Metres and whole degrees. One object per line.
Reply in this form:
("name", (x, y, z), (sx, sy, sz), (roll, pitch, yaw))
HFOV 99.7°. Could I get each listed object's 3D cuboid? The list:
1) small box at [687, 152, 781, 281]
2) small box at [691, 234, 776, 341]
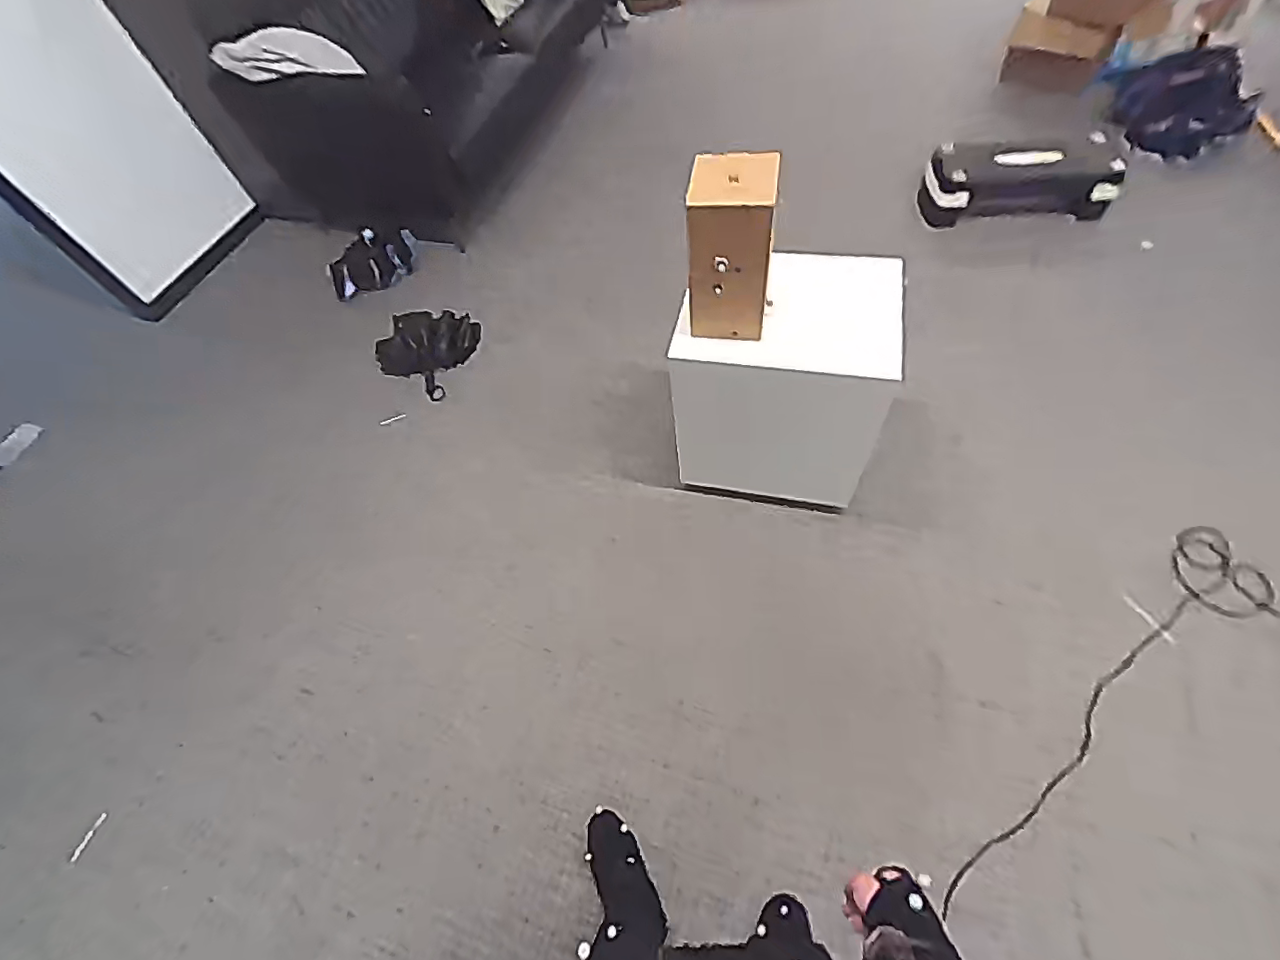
("small box", (0.190, -0.528, 1.089), (0.168, 0.176, 0.179), (4, 59, 12))
("small box", (0.210, -0.443, 1.227), (0.168, 0.176, 0.179), (7, 59, 12))
